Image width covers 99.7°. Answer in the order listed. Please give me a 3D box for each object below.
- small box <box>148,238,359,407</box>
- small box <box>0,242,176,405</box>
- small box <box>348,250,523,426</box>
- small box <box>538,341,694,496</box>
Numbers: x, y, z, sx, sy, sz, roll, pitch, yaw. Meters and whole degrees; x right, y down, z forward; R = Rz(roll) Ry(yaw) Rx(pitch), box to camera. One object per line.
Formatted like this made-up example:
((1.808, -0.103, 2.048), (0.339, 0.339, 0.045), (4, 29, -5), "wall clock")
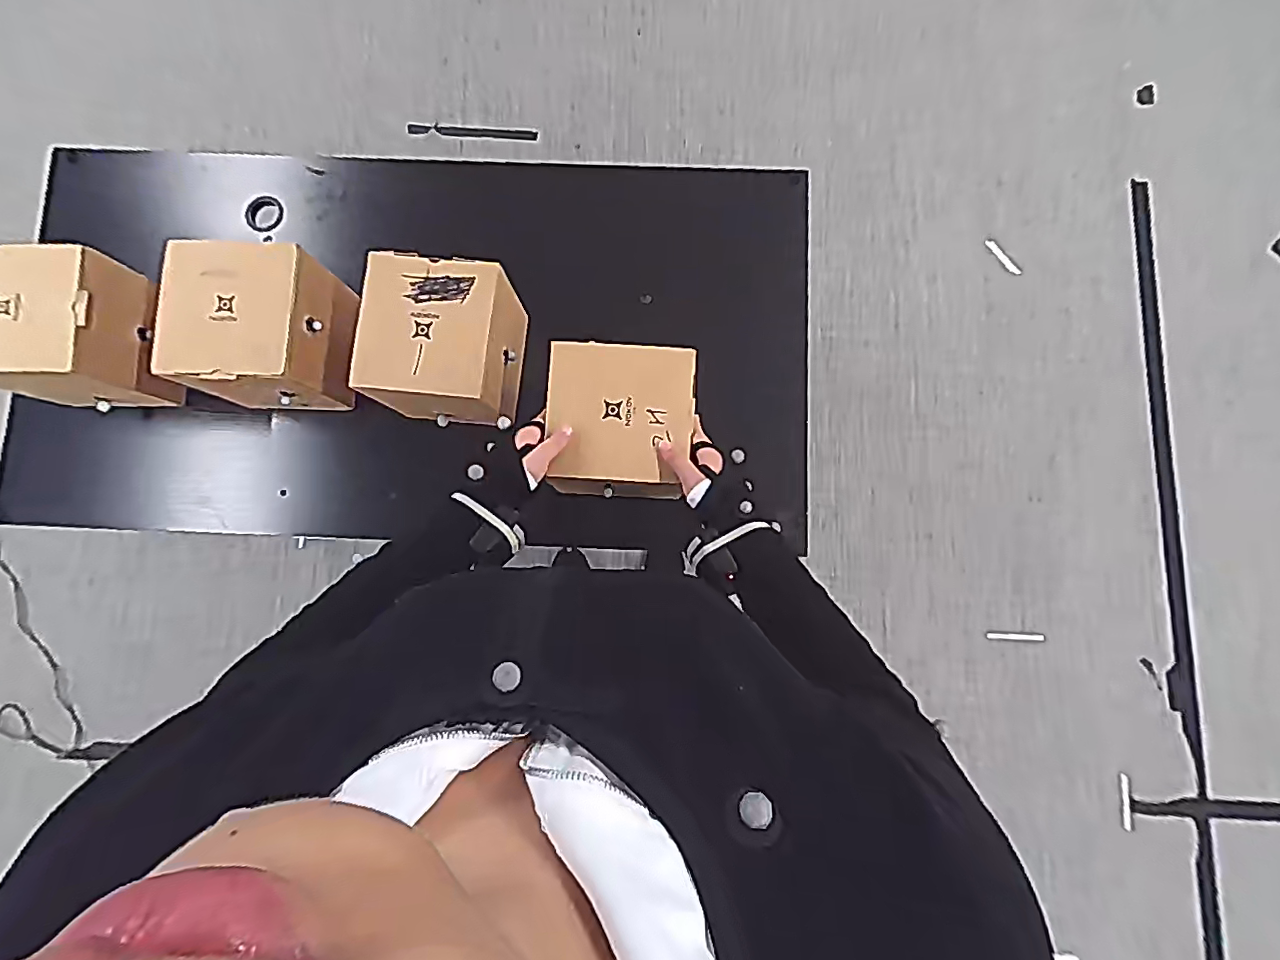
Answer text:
((-0.511, -0.203, 0.741), (0.168, 0.176, 0.179), (1, 82, -1), "small box")
((-0.773, -0.203, 0.739), (0.179, 0.176, 0.168), (0, 83, -1), "small box")
((-0.262, -0.182, 0.738), (0.168, 0.176, 0.179), (6, 84, 1), "small box")
((-0.028, -0.071, 0.715), (0.179, 0.176, 0.168), (4, 83, -1), "small box")
